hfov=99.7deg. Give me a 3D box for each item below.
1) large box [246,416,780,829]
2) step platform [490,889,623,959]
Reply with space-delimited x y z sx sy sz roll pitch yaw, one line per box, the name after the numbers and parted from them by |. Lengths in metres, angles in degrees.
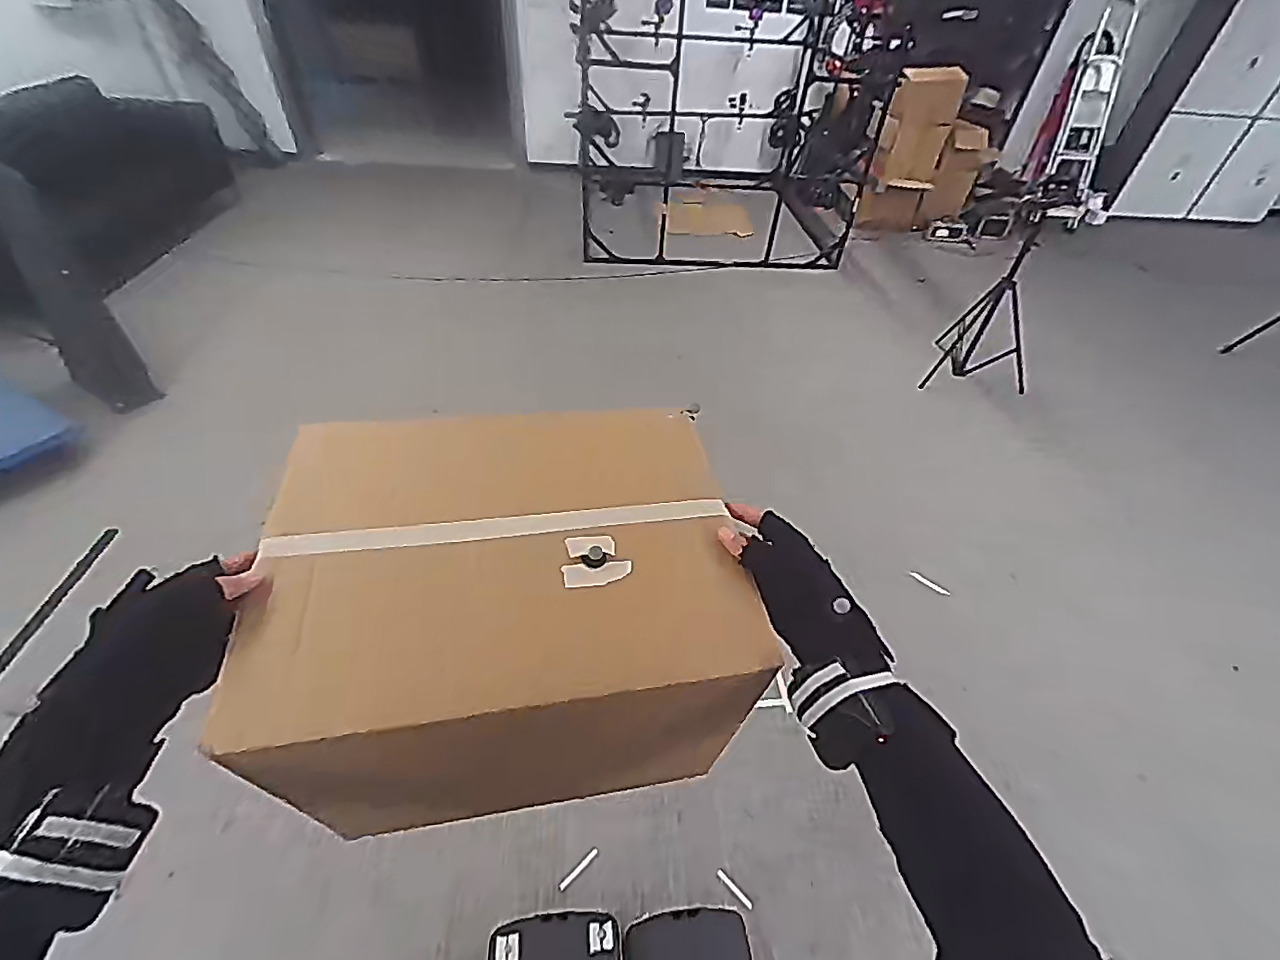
-0.121 0.150 0.608 0.408 0.320 0.320 -4 49 -12 | large box
-0.157 1.205 1.026 0.286 0.204 0.684 -2 43 -7 | step platform
